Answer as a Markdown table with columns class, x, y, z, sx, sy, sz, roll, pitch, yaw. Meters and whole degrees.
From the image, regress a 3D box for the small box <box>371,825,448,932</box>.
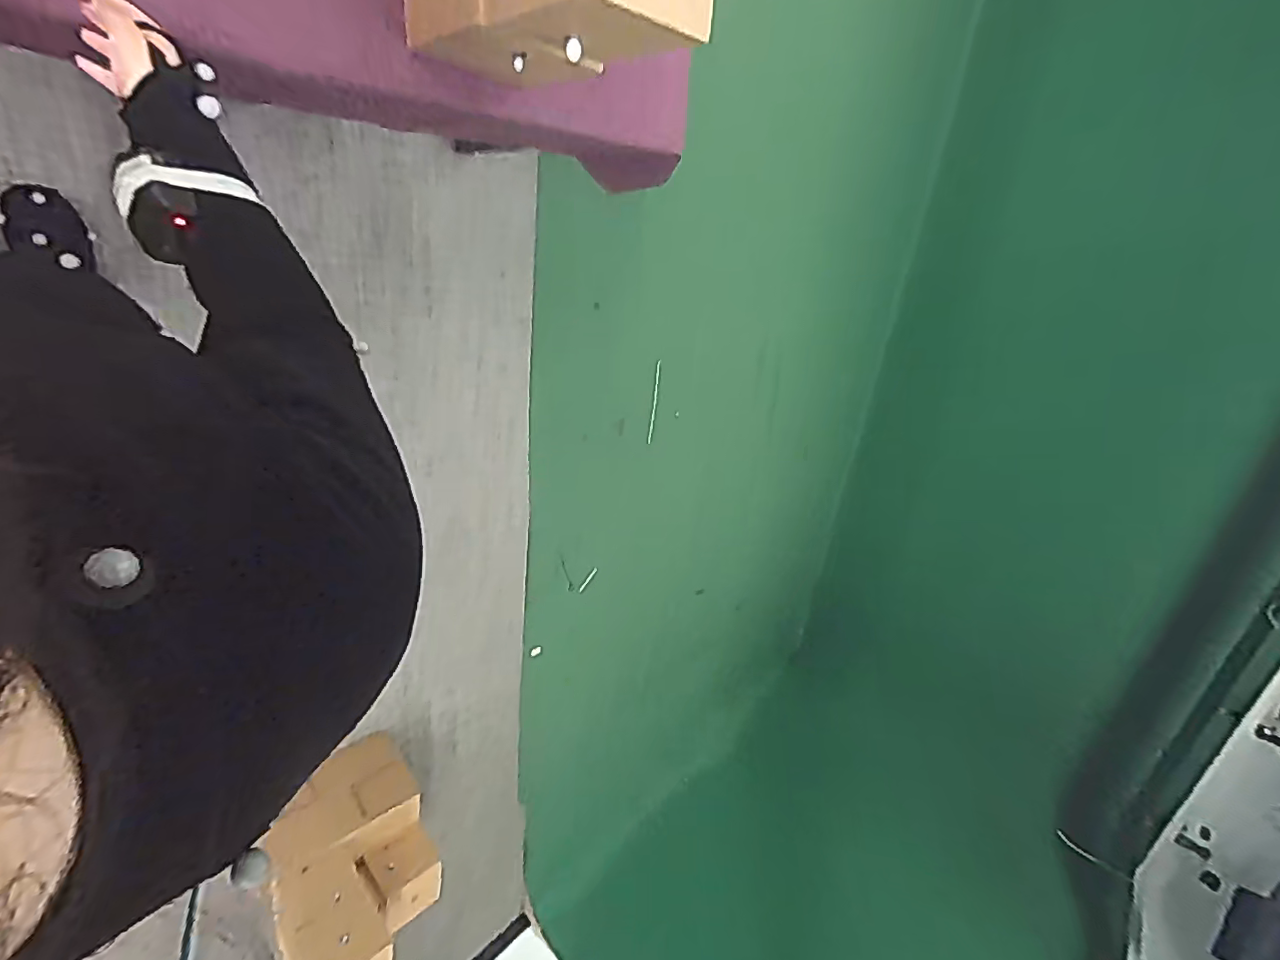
| class | x | y | z | sx | sy | sz | roll | pitch | yaw |
| --- | --- | --- | --- | --- | --- | --- | --- | --- | --- |
| small box | -0.709 | 1.202 | 1.654 | 0.168 | 0.176 | 0.179 | -13 | 121 | -45 |

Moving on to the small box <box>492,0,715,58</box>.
| class | x | y | z | sx | sy | sz | roll | pitch | yaw |
| --- | --- | --- | --- | --- | --- | --- | --- | --- | --- |
| small box | -0.036 | -0.541 | 0.519 | 0.168 | 0.176 | 0.179 | -21 | 125 | -41 |

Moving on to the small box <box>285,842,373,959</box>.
| class | x | y | z | sx | sy | sz | roll | pitch | yaw |
| --- | --- | --- | --- | --- | --- | --- | --- | --- | --- |
| small box | -0.840 | 1.137 | 1.458 | 0.168 | 0.176 | 0.179 | -10 | 119 | -46 |

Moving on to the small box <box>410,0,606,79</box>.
| class | x | y | z | sx | sy | sz | roll | pitch | yaw |
| --- | --- | --- | --- | --- | --- | --- | --- | --- | --- |
| small box | -0.154 | -0.588 | 0.625 | 0.179 | 0.176 | 0.168 | -18 | 123 | -43 |
